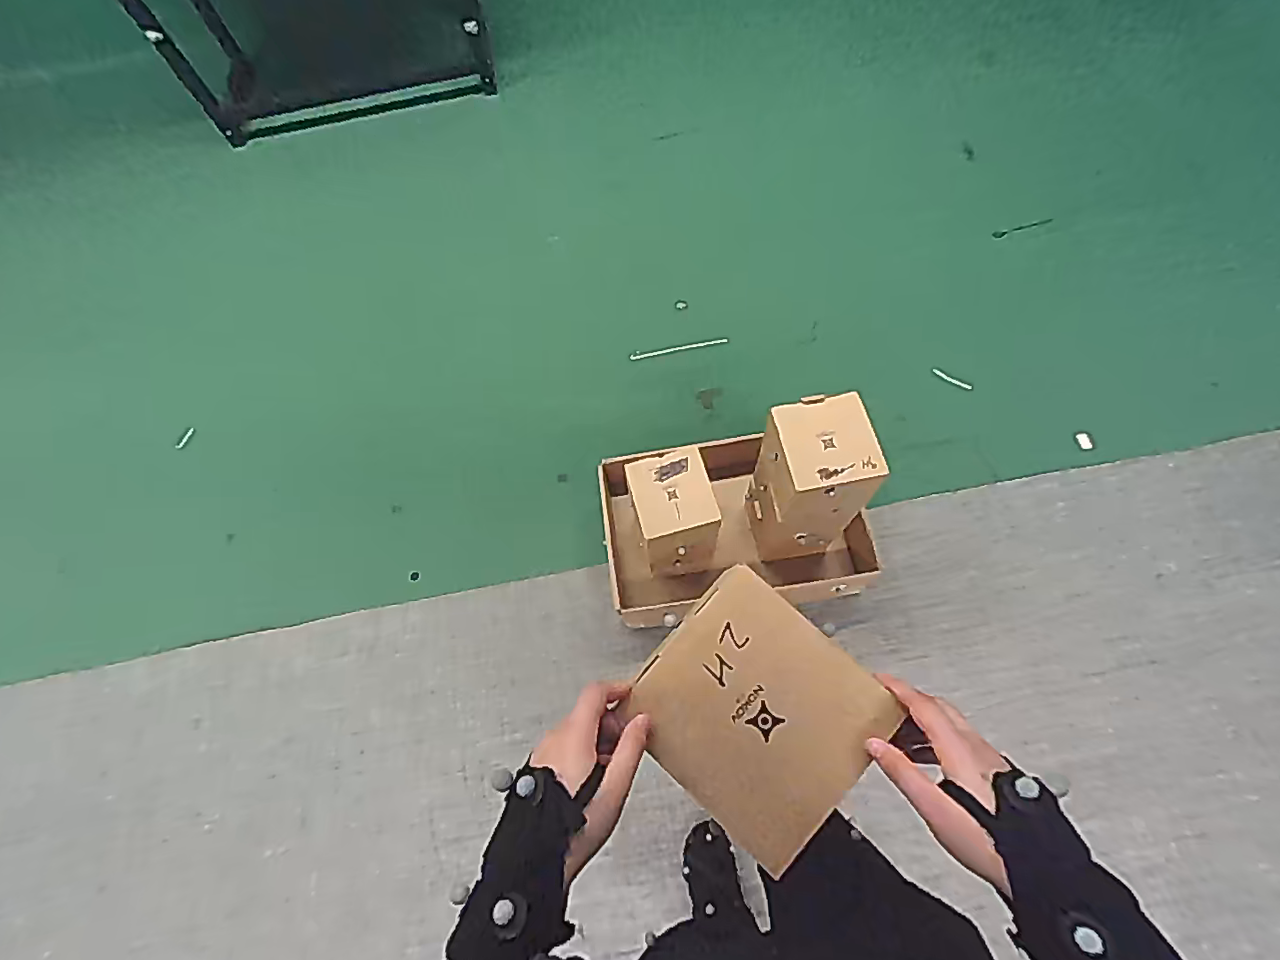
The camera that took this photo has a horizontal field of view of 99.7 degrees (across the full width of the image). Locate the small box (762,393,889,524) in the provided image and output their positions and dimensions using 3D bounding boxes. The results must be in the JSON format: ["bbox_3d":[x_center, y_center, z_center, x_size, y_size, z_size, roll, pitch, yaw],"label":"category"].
[{"bbox_3d":[0.339,-0.037,1.030,0.168,0.176,0.179,-11,64,1],"label":"small box"}]

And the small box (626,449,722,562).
[{"bbox_3d":[0.070,0.060,1.190,0.168,0.176,0.179,-15,67,-3],"label":"small box"}]

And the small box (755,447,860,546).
[{"bbox_3d":[0.354,0.030,1.180,0.168,0.176,0.179,-9,67,2],"label":"small box"}]

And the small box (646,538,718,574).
[{"bbox_3d":[0.086,0.116,1.345,0.168,0.176,0.179,-13,66,-2],"label":"small box"}]
